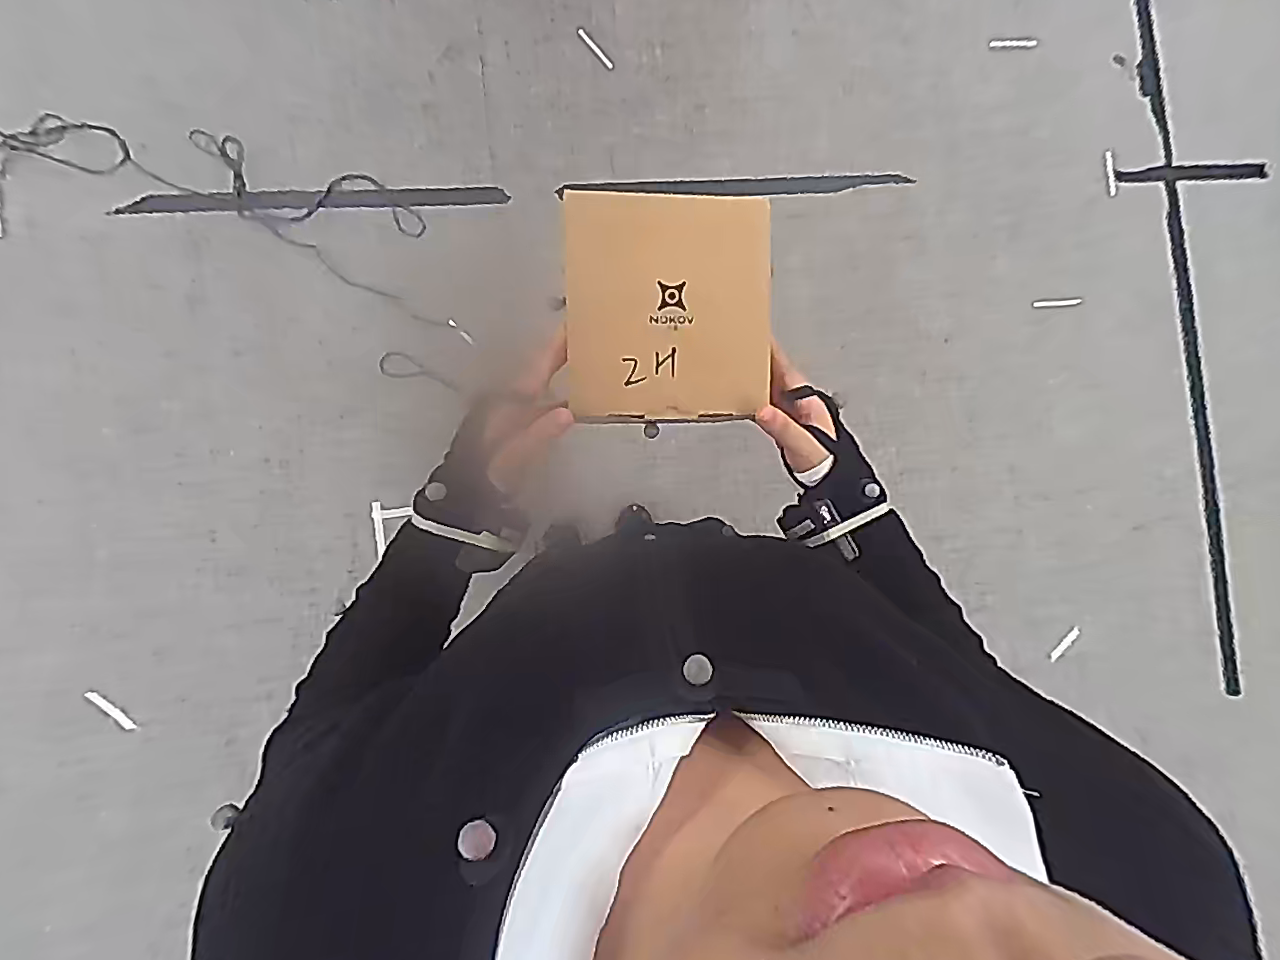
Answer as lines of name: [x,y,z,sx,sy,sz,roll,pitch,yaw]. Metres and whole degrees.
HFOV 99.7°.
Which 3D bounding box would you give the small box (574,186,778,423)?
small box: [0.021,-0.146,0.510,0.168,0.176,0.179,-1,94,-6]
